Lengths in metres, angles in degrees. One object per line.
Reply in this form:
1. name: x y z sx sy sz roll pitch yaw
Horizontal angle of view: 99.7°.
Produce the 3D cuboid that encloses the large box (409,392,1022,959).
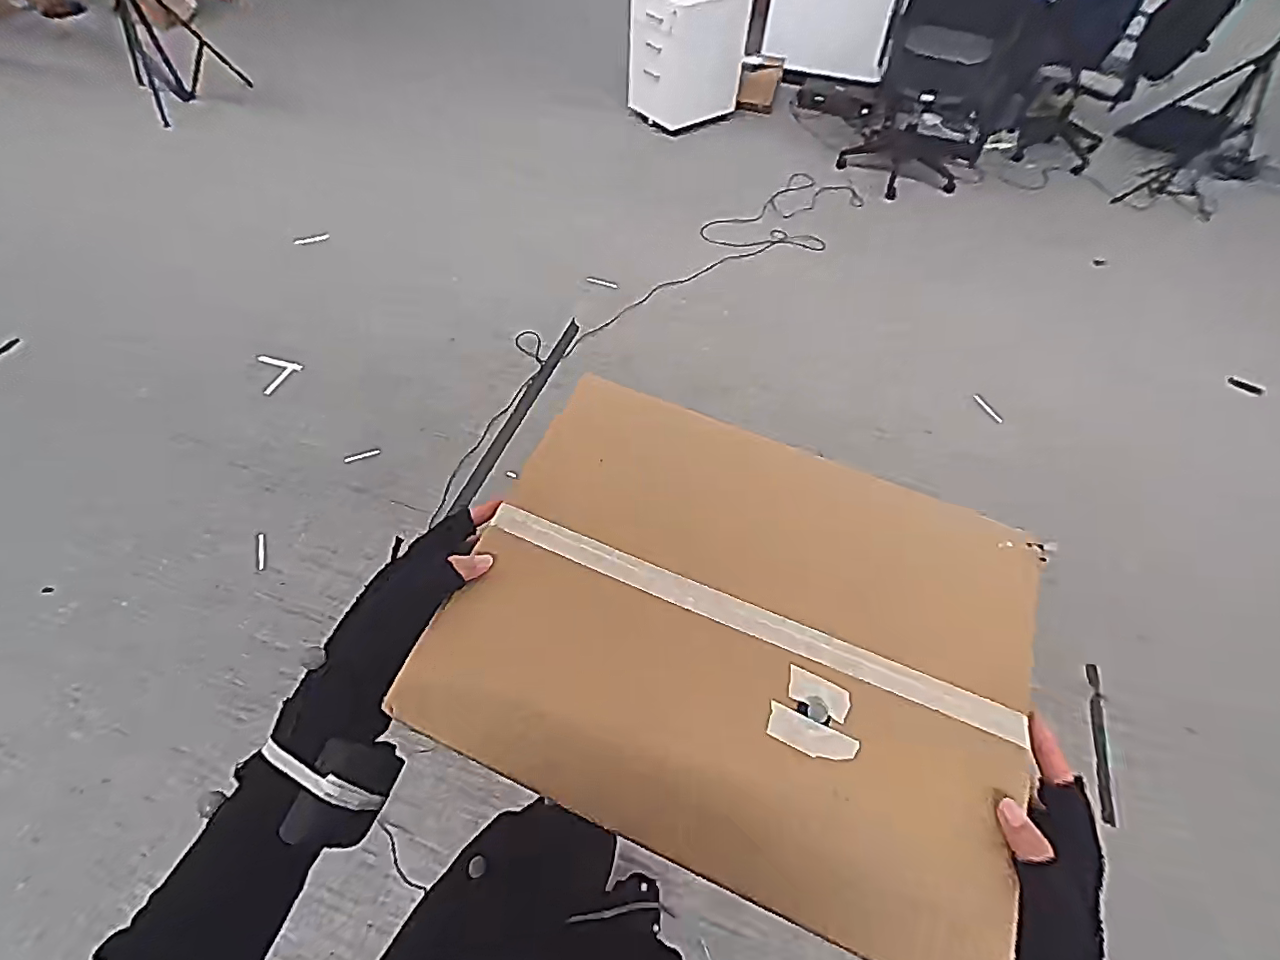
1. large box: 0.071 0.175 0.542 0.408 0.320 0.320 21 64 9
